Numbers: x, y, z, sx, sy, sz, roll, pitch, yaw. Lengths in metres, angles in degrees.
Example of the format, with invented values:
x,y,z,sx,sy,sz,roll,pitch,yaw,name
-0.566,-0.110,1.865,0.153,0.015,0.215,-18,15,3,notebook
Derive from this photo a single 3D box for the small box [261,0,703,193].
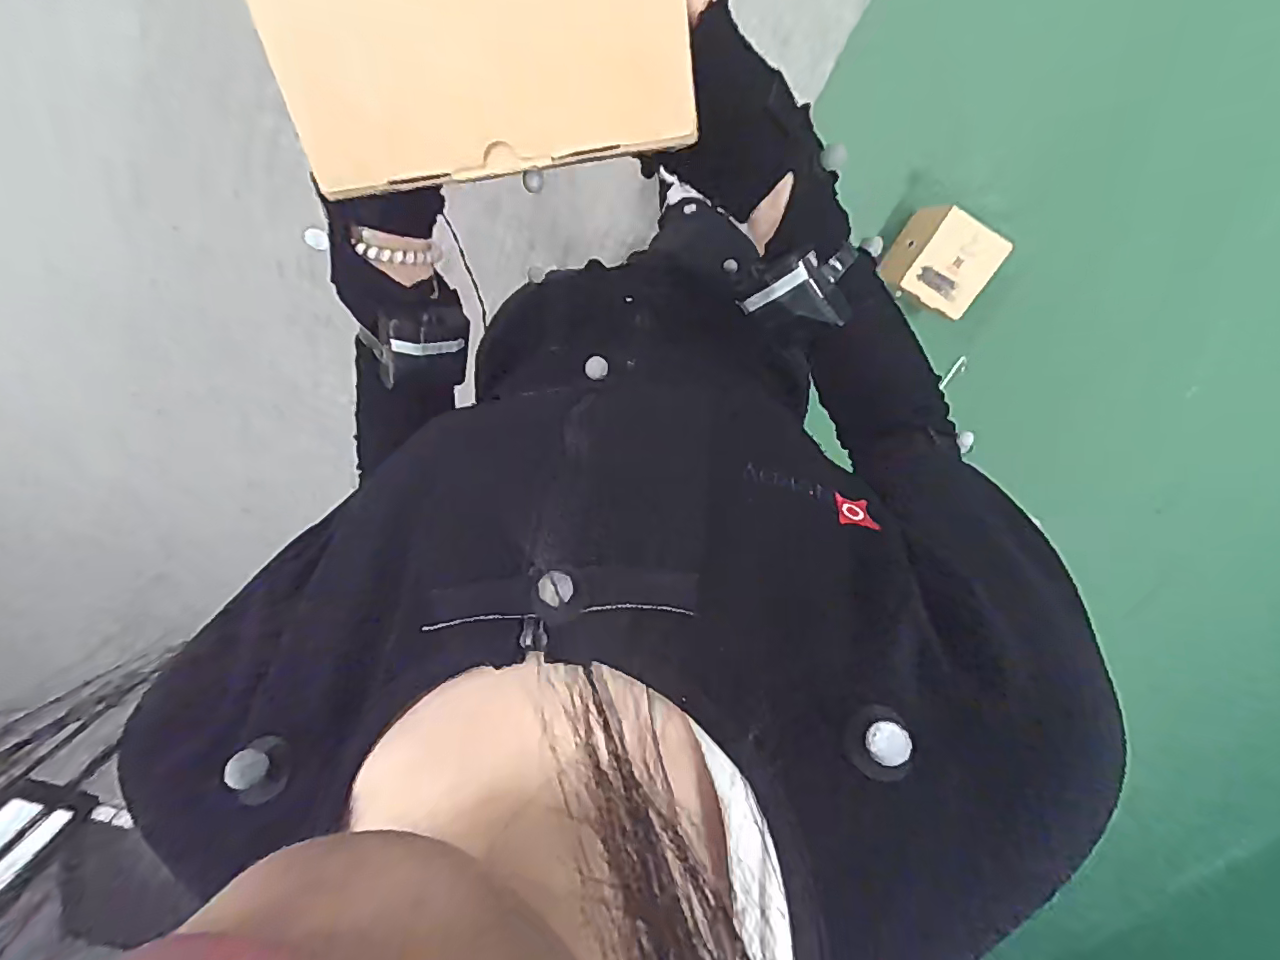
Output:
x,y,z,sx,sy,sz,roll,pitch,yaw,name
-0.062,-0.248,0.257,0.168,0.176,0.179,-5,121,6,small box
